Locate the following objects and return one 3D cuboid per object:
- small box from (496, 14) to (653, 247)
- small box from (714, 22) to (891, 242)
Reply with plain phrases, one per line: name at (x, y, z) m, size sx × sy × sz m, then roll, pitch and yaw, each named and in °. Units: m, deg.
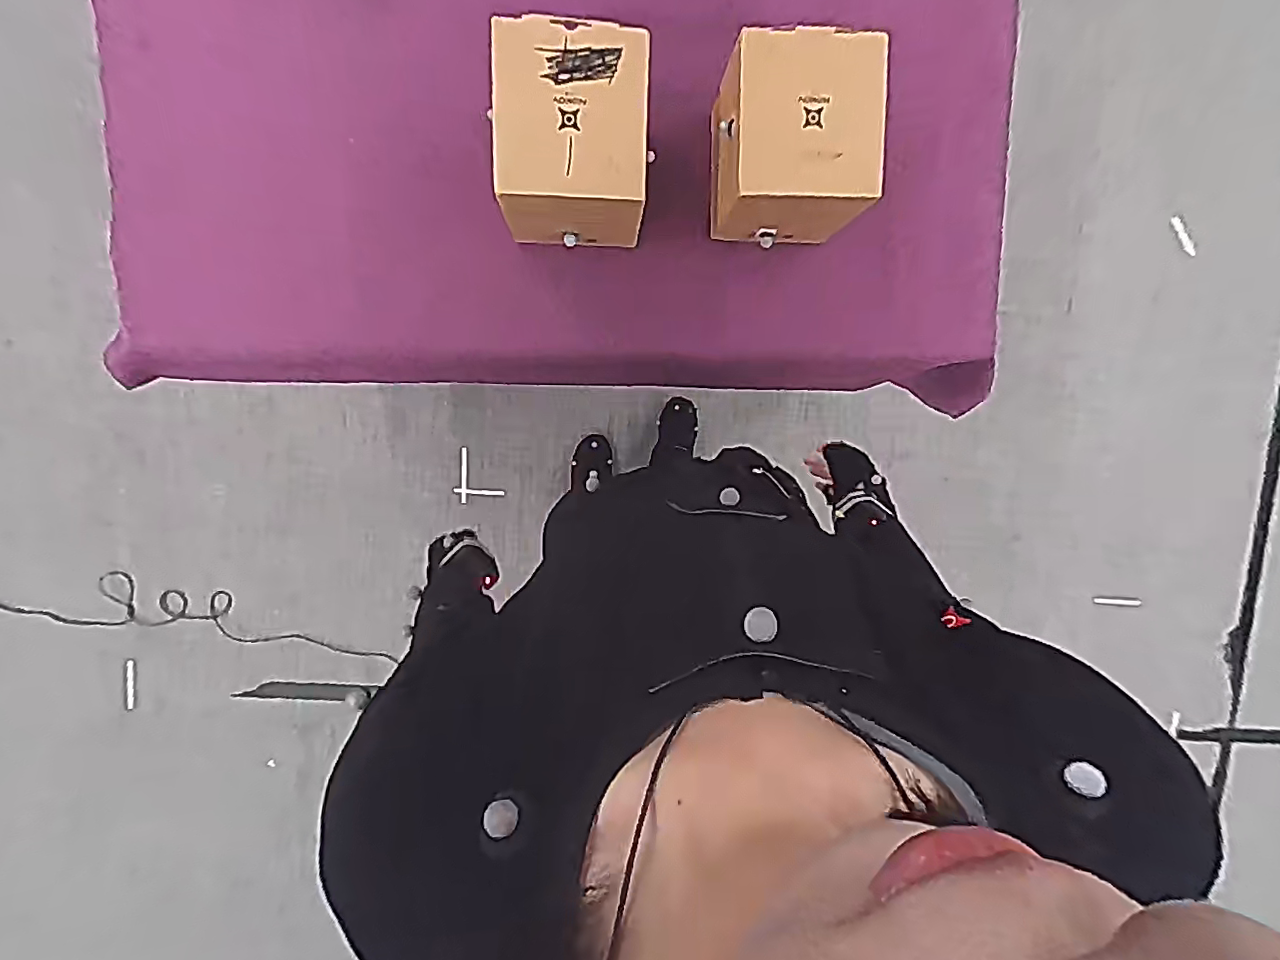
small box at (-0.077, -0.404, 0.654) m, size 0.168 × 0.176 × 0.179 m, roll 1°, pitch 96°, yaw -4°
small box at (0.189, -0.416, 0.674) m, size 0.168 × 0.176 × 0.179 m, roll -1°, pitch 97°, yaw -3°
